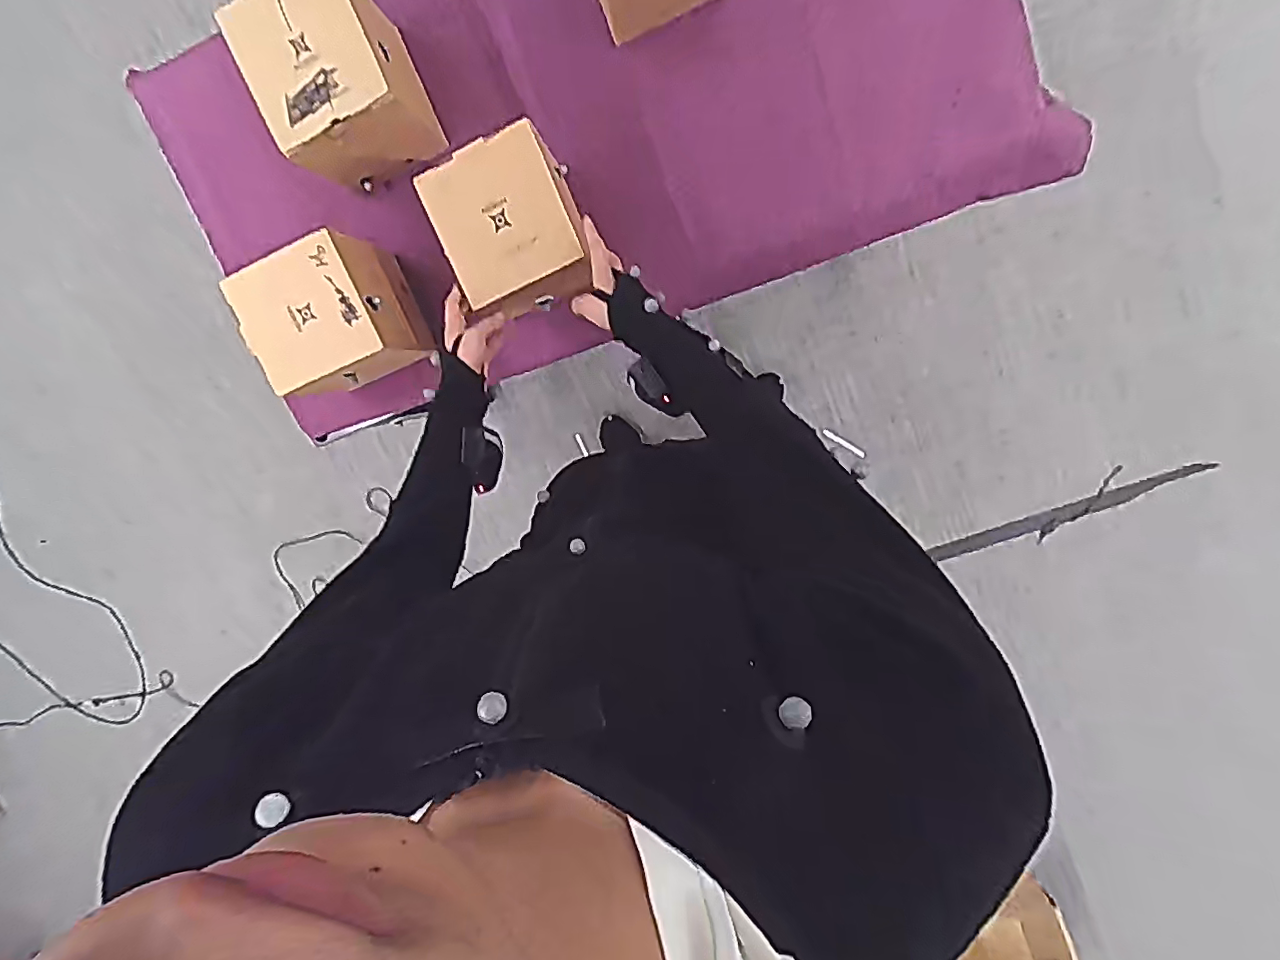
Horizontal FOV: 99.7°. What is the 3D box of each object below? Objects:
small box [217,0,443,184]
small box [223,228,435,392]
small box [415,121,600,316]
[{"bbox_3d":[-0.403,-0.534,0.738,0.168,0.176,0.179,-22,99,9],"label":"small box"},{"bbox_3d":[-0.443,-0.238,0.799,0.179,0.176,0.168,-21,99,9],"label":"small box"},{"bbox_3d":[-0.171,-0.346,0.756,0.168,0.176,0.179,-22,101,10],"label":"small box"}]
